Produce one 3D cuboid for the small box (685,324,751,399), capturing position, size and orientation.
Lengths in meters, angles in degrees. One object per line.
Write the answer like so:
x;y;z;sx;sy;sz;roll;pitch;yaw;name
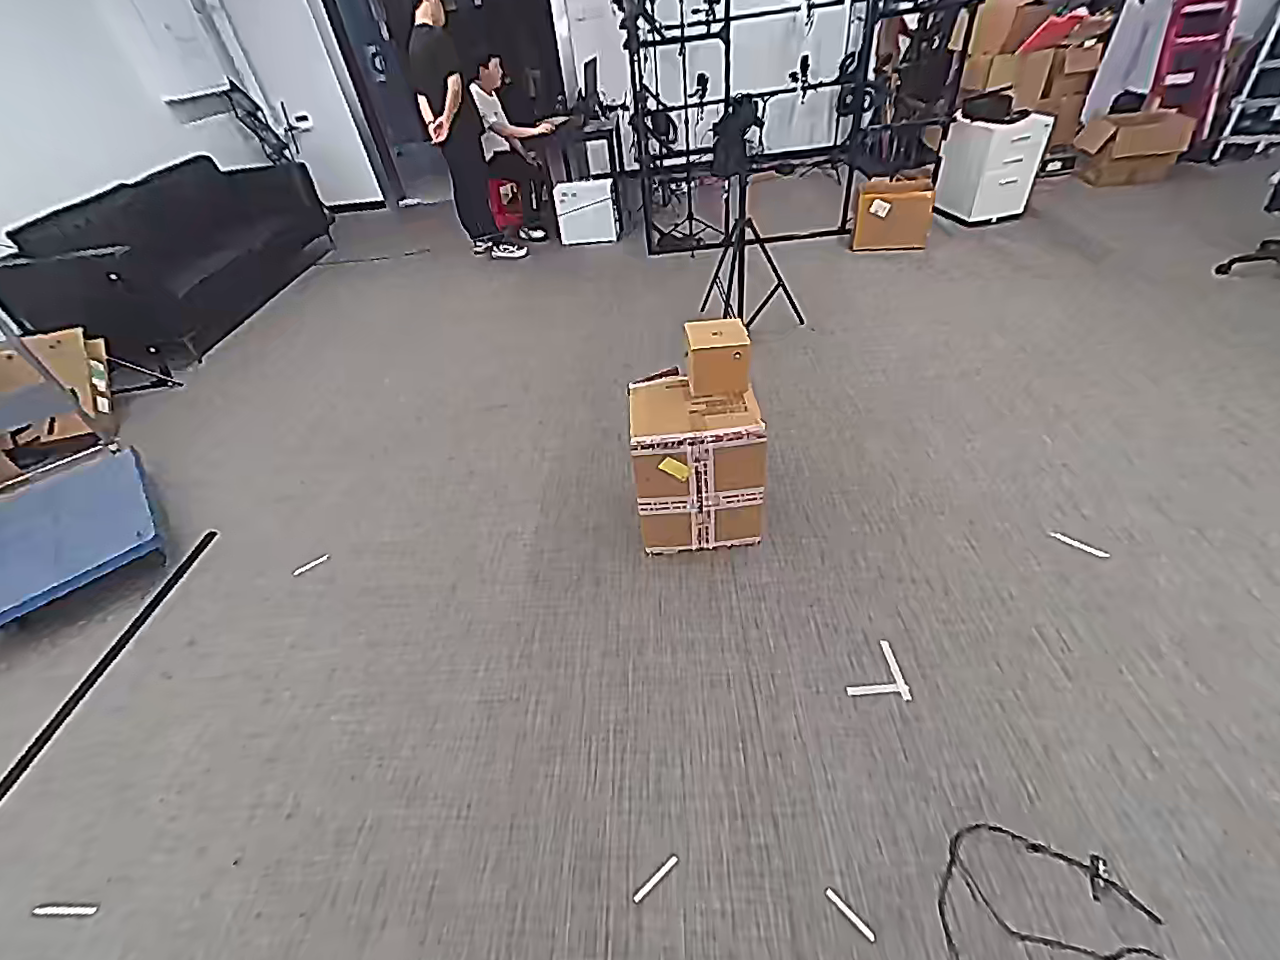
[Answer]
0.237;-0.364;1.672;0.179;0.176;0.168;-5;43;0;small box
